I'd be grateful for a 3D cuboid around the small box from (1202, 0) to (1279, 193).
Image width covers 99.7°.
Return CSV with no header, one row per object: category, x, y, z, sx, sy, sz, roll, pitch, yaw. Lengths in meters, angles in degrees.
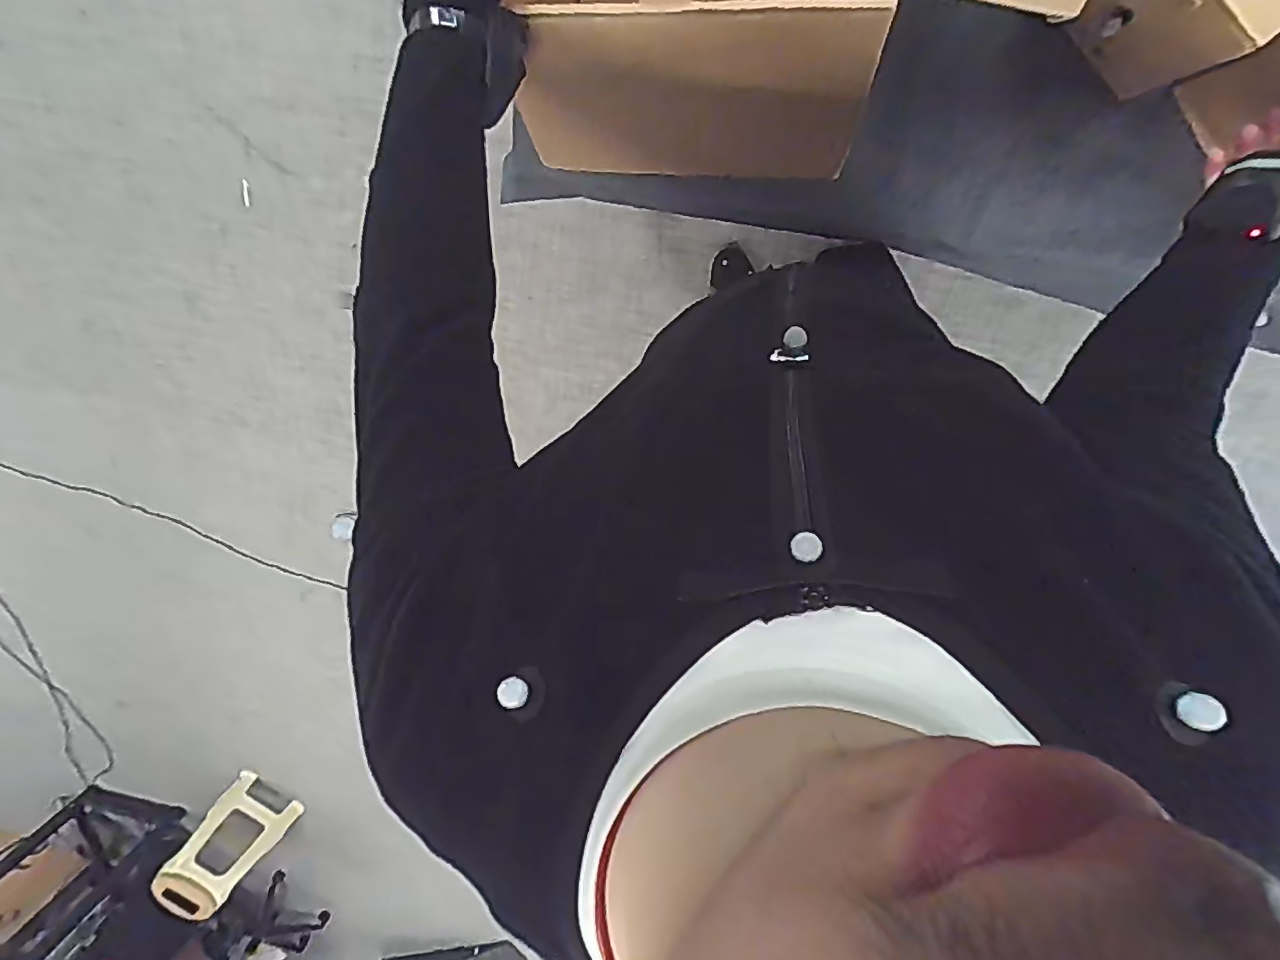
small box,0.670,-0.384,0.478,0.179,0.176,0.168,-38,103,23
